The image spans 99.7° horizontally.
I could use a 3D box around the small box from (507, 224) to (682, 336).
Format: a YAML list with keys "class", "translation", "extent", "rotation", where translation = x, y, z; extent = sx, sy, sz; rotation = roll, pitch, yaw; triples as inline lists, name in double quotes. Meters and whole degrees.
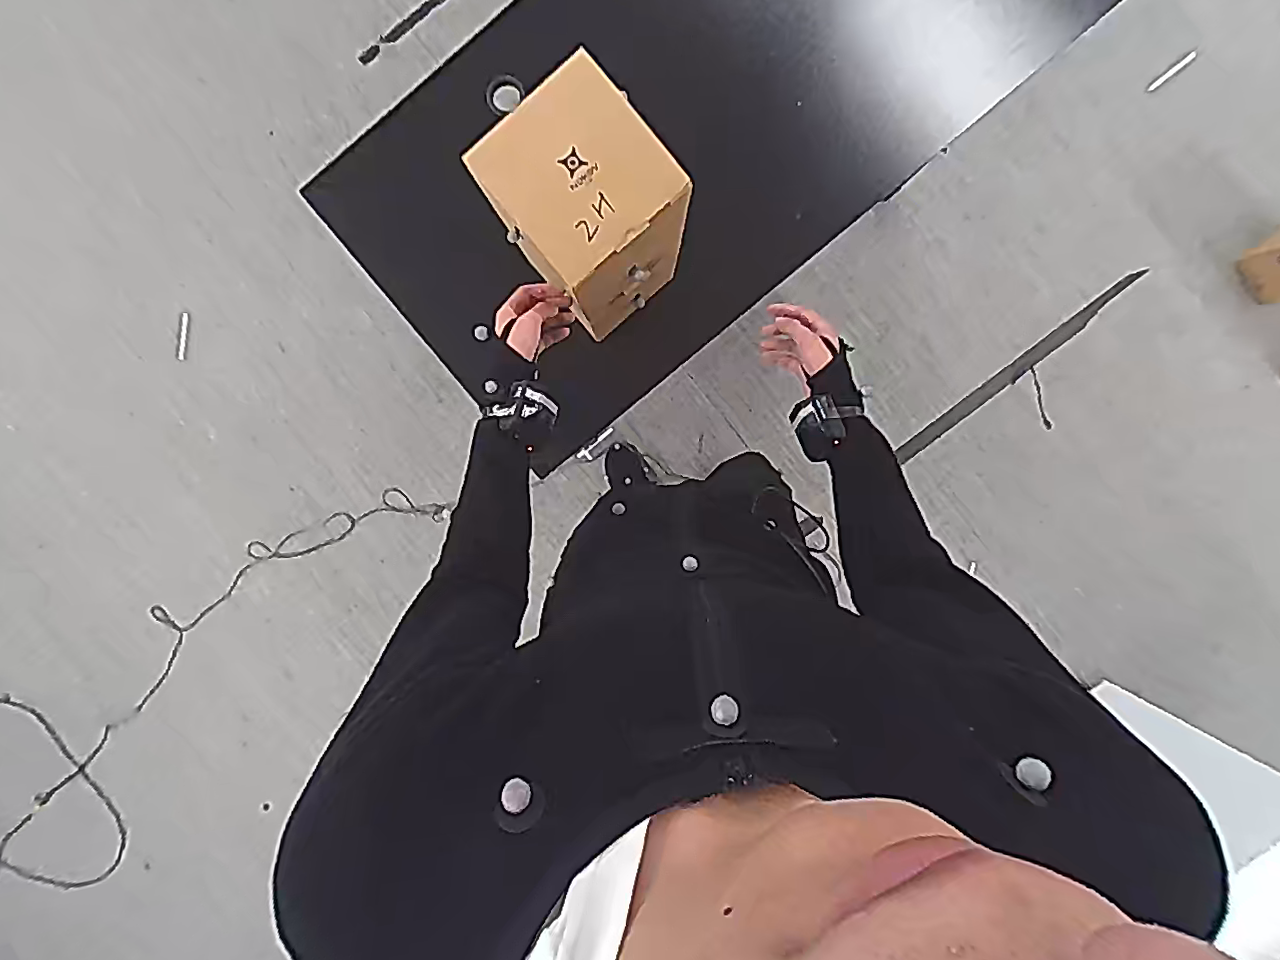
- class: "small box"
  translation: [-0.060, -0.329, 0.789]
  extent: [0.168, 0.176, 0.179]
  rotation: [-41, 94, 3]

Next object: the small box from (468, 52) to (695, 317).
- class: "small box"
  translation: [-0.060, -0.317, 0.625]
  extent: [0.168, 0.176, 0.179]
  rotation: [-40, 94, 4]
